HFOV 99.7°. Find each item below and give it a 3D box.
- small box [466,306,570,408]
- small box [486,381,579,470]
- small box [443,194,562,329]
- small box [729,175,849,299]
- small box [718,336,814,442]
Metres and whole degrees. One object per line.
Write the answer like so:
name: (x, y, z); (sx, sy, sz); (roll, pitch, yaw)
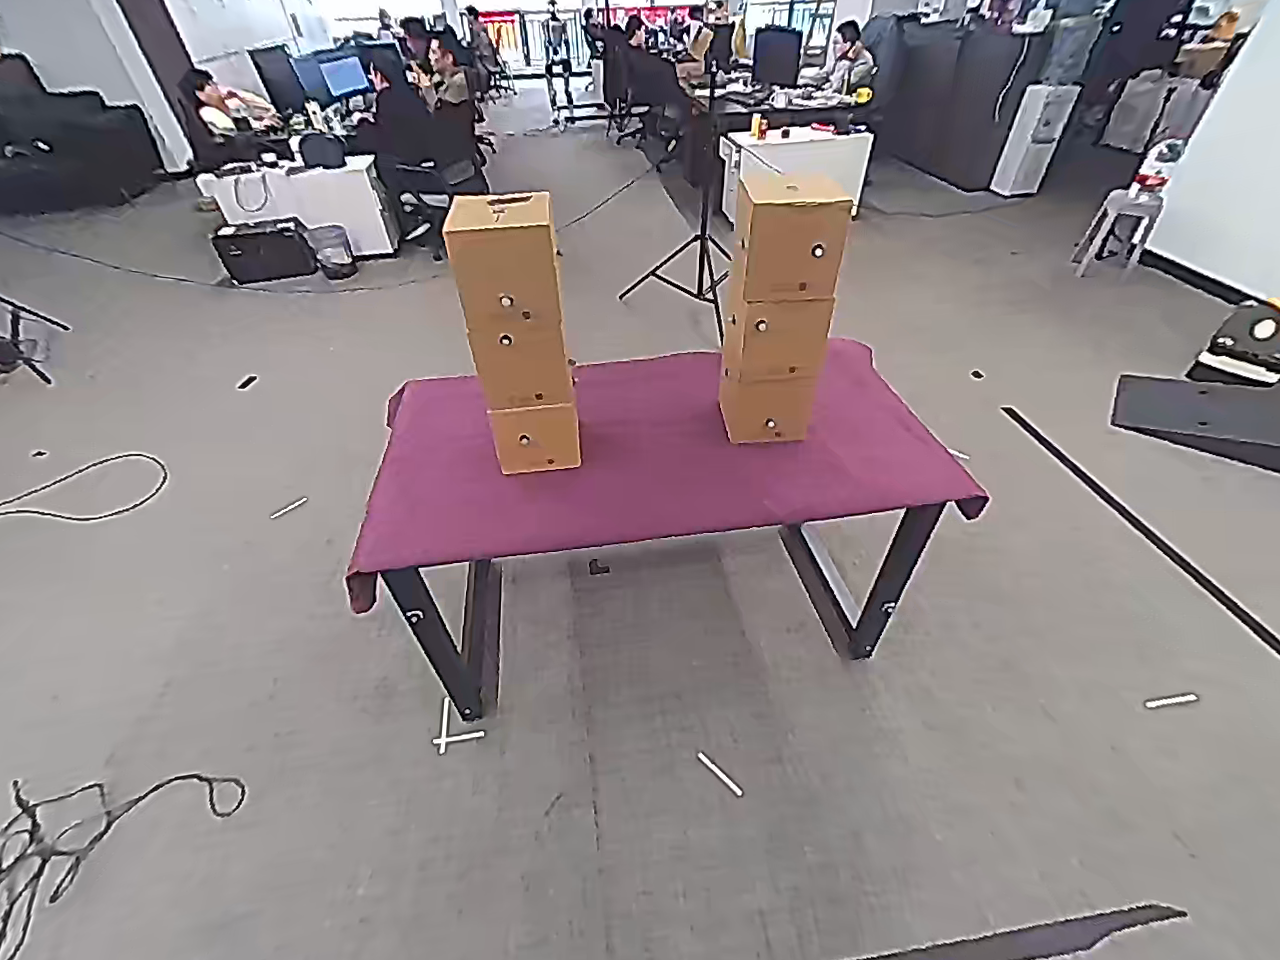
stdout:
small box: (-0.228, -0.259, 1.053); (0.168, 0.176, 0.179); (-7, 42, -5)
small box: (-0.223, -0.134, 1.159); (0.168, 0.176, 0.179); (-6, 42, -4)
small box: (-0.228, -0.380, 0.940); (0.168, 0.176, 0.179); (-6, 43, -4)
small box: (0.261, -0.441, 0.988); (0.168, 0.176, 0.179); (-1, 41, -1)
small box: (0.273, -0.205, 1.214); (0.168, 0.176, 0.179); (-4, 43, -1)
